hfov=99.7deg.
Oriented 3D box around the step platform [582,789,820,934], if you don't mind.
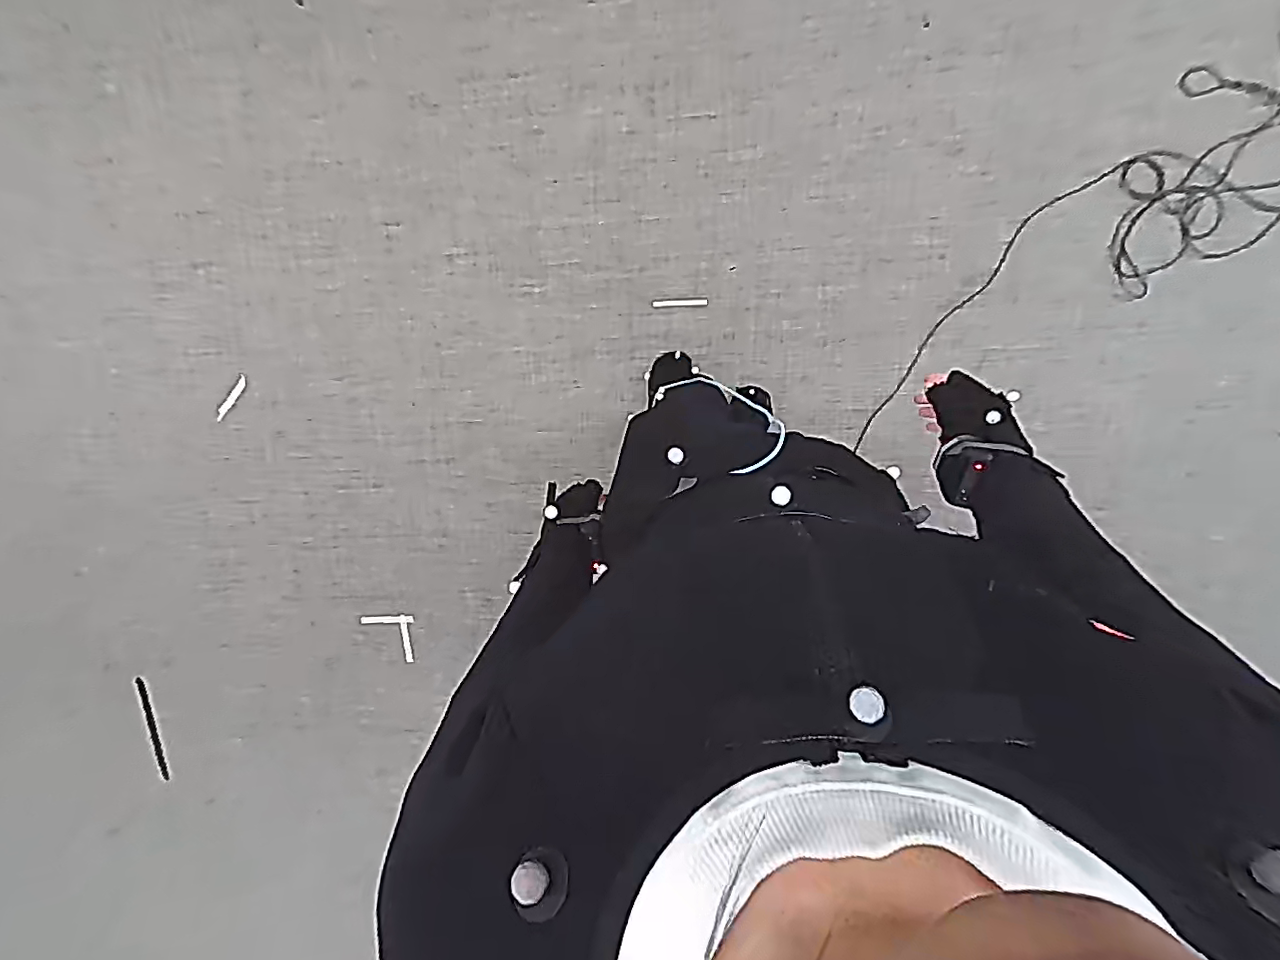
[{"bbox_3d":[0.171,1.114,1.592,0.684,0.204,0.286,-2,101,9],"label":"step platform"}]
